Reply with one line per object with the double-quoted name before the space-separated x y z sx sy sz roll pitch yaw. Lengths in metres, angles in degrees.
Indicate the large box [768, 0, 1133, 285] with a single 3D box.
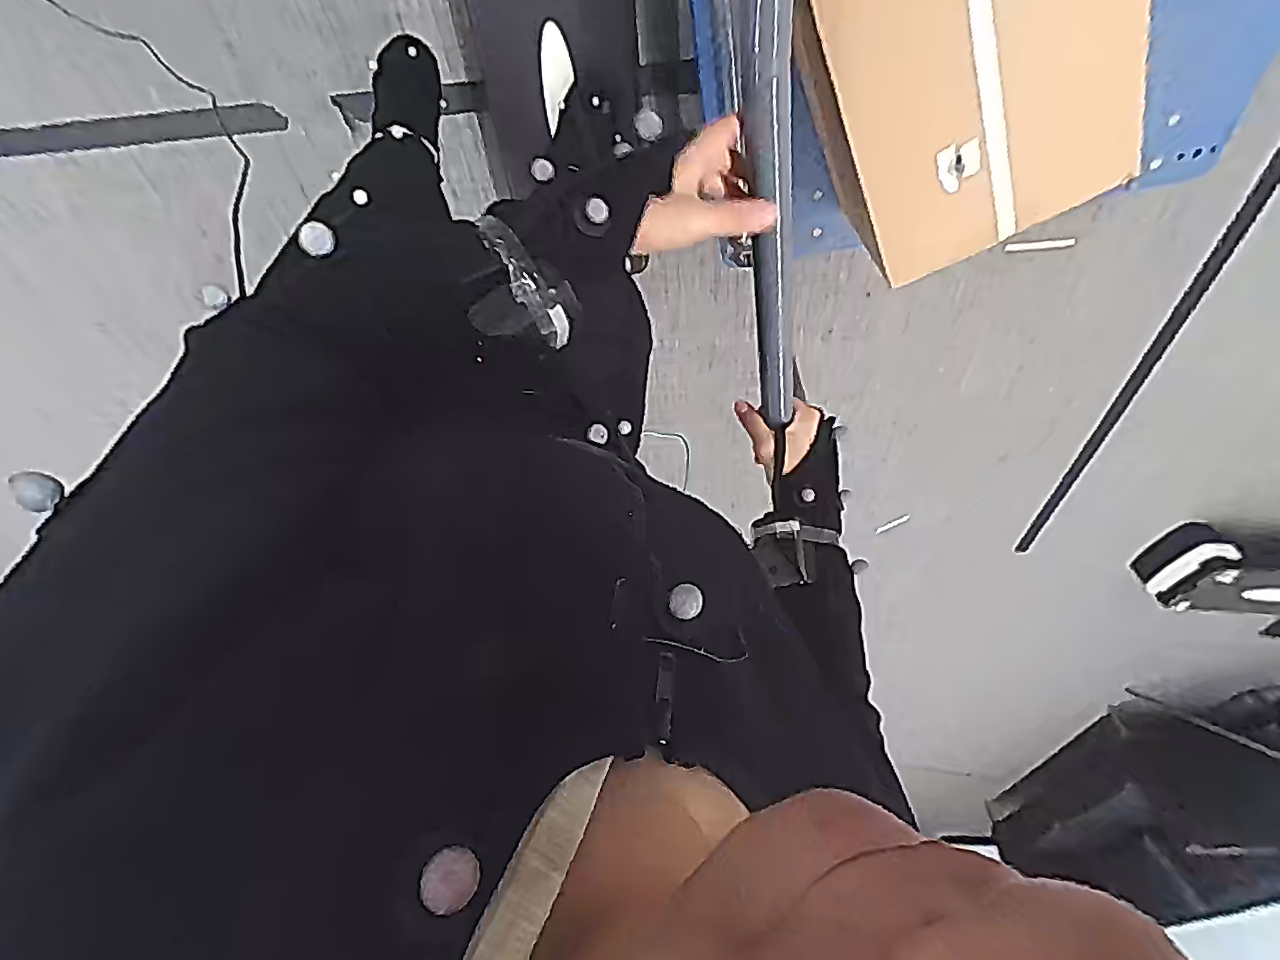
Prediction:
"large box" 0.405 -0.571 0.746 0.320 0.320 0.408 -22 133 23
